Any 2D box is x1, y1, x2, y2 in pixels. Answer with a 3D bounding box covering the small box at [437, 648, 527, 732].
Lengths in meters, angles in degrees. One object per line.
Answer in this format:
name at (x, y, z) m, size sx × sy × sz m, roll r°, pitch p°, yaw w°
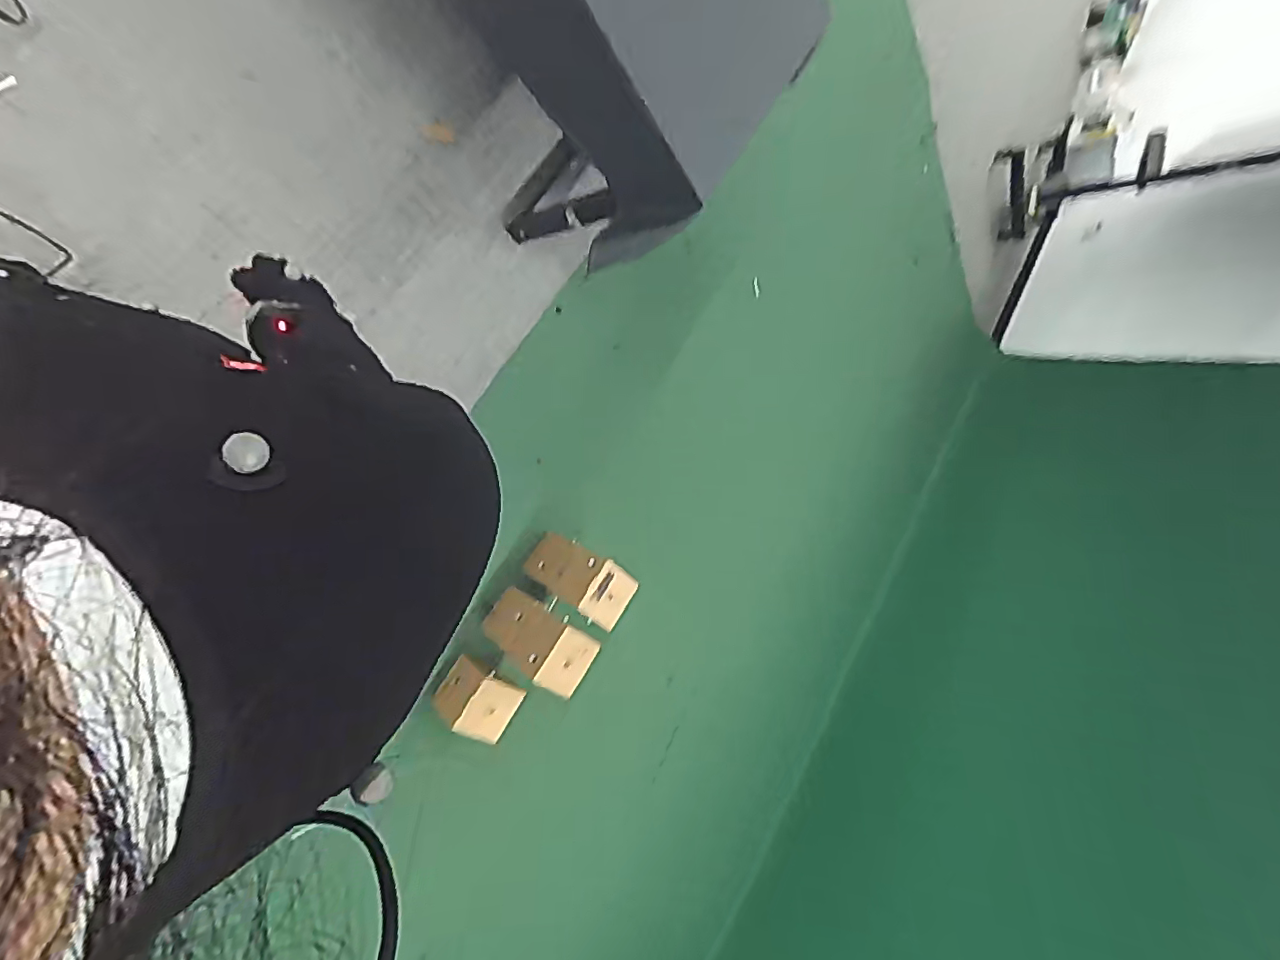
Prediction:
small box at (-0.495, 0.651, 1.688) m, size 0.179 × 0.176 × 0.168 m, roll 43°, pitch 73°, yaw -39°
